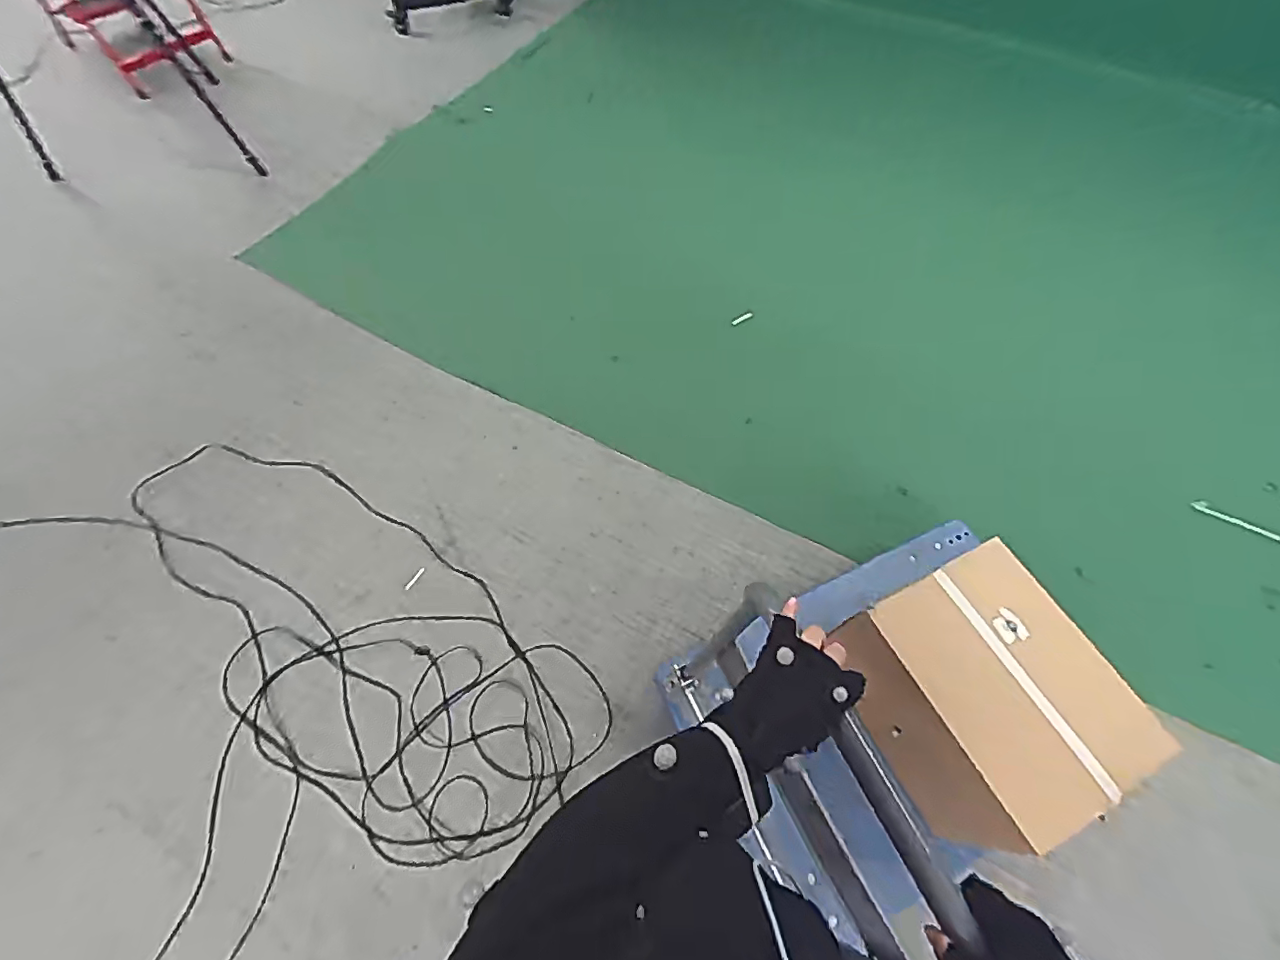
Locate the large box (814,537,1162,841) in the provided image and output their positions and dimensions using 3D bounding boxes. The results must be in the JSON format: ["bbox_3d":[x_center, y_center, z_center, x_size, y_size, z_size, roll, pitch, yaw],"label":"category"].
[{"bbox_3d":[0.613,0.392,1.043,0.320,0.320,0.408,-24,64,-14],"label":"large box"}]
